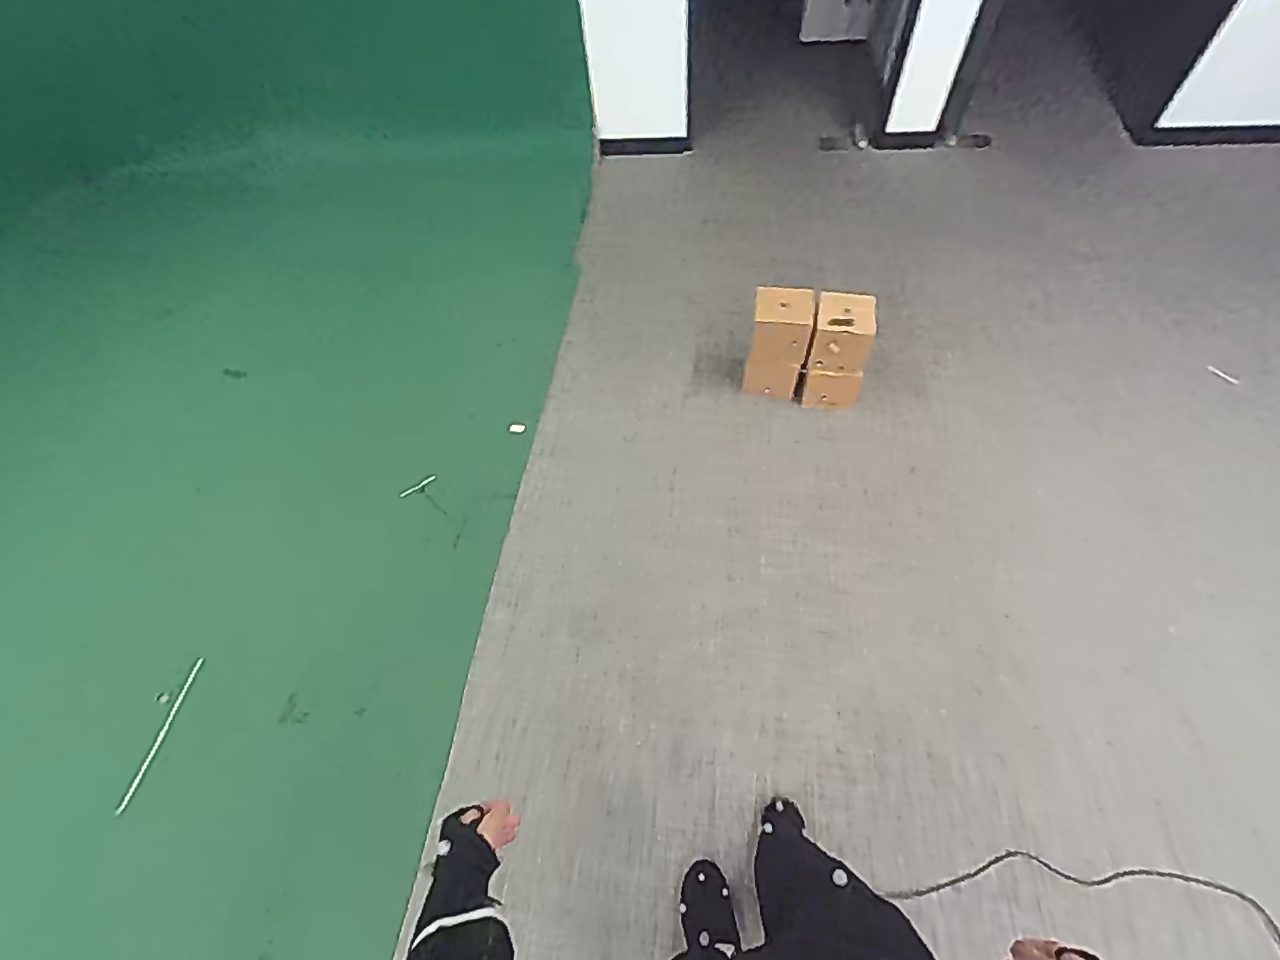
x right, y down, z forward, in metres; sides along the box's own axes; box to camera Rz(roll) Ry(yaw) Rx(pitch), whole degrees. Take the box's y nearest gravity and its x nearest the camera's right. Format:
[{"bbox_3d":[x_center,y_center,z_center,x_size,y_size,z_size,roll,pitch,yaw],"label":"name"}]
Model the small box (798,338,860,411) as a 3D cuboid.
[{"bbox_3d":[0.634,-0.358,1.832,0.168,0.176,0.179,3,59,7],"label":"small box"}]
